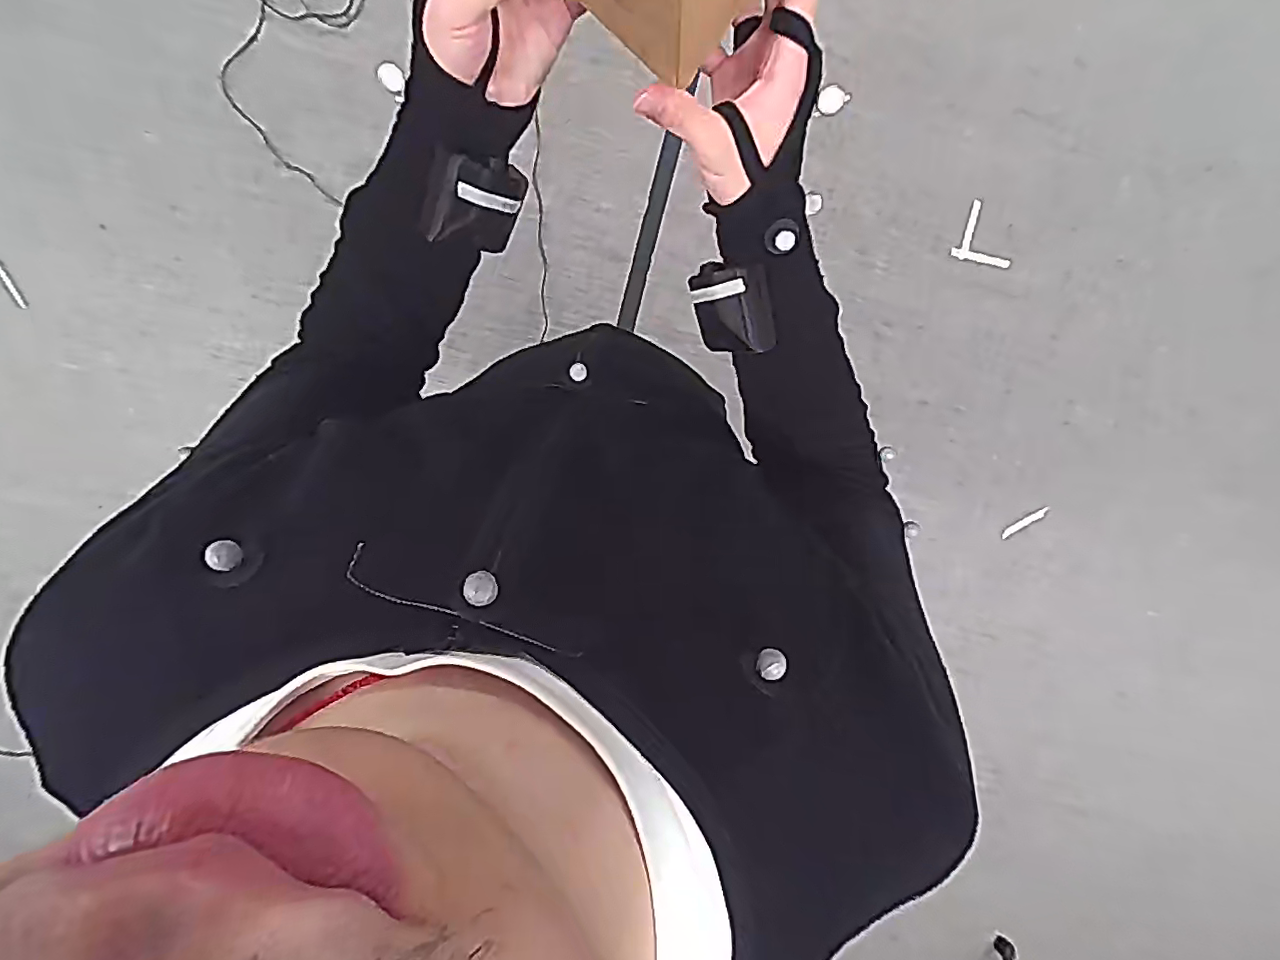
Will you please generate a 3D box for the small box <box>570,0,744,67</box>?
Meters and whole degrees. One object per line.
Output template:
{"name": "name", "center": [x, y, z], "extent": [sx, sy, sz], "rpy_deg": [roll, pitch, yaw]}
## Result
{"name": "small box", "center": [0.004, -0.294, 0.190], "extent": [0.179, 0.176, 0.168], "rpy_deg": [38, 107, -11]}
